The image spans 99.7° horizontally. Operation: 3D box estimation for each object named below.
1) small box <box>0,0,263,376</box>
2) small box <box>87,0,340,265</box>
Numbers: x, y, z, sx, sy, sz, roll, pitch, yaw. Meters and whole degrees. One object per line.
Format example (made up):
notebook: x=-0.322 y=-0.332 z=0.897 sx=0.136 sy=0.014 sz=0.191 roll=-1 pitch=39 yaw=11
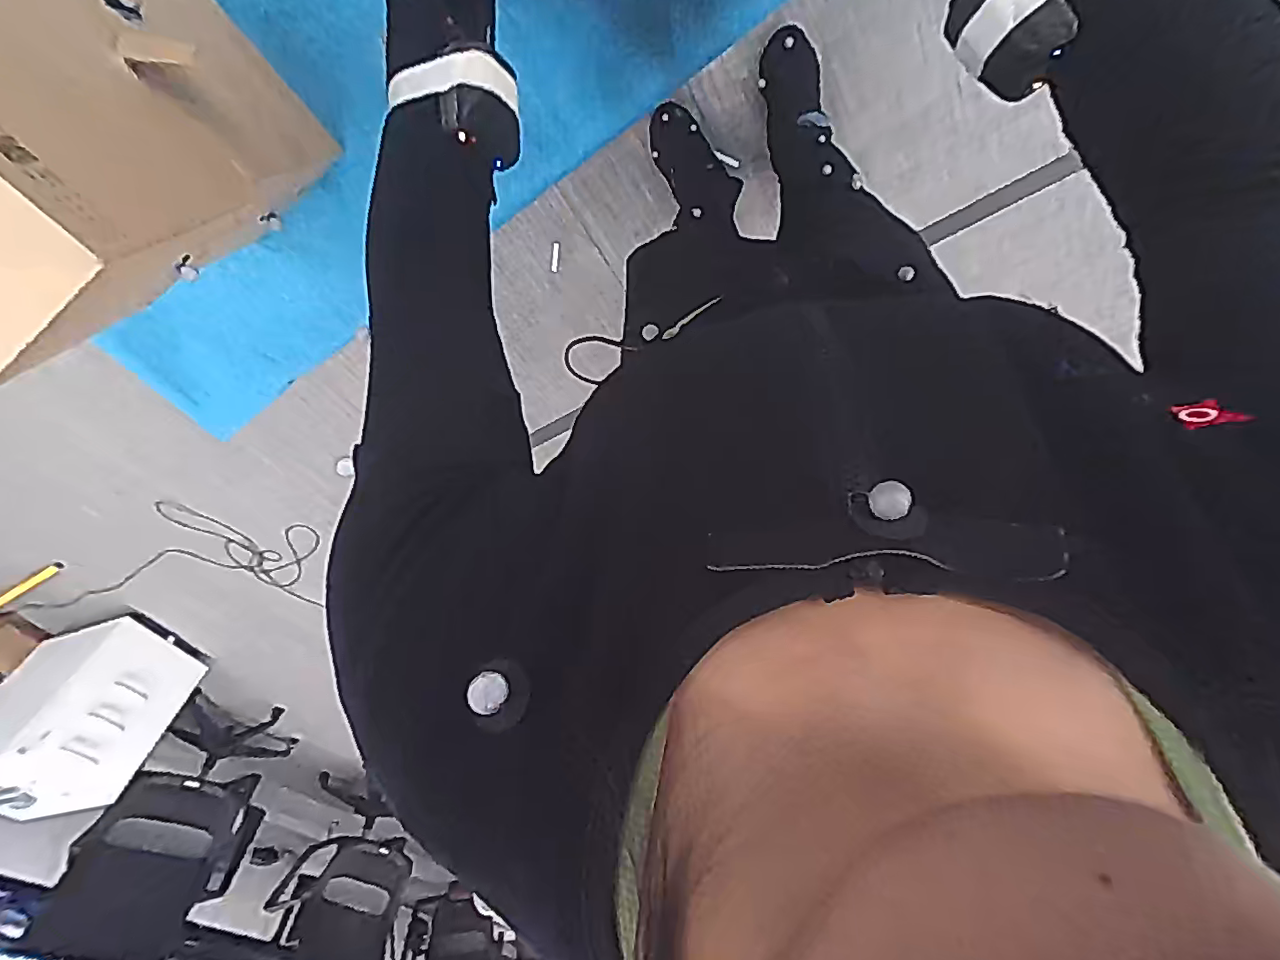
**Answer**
small box: x=-0.411 y=-0.196 z=0.351 sx=0.179 sy=0.176 sz=0.168 roll=-25 pitch=124 yaw=20
small box: x=-0.416 y=-0.309 z=0.474 sx=0.168 sy=0.176 sz=0.179 roll=-22 pitch=127 yaw=21
